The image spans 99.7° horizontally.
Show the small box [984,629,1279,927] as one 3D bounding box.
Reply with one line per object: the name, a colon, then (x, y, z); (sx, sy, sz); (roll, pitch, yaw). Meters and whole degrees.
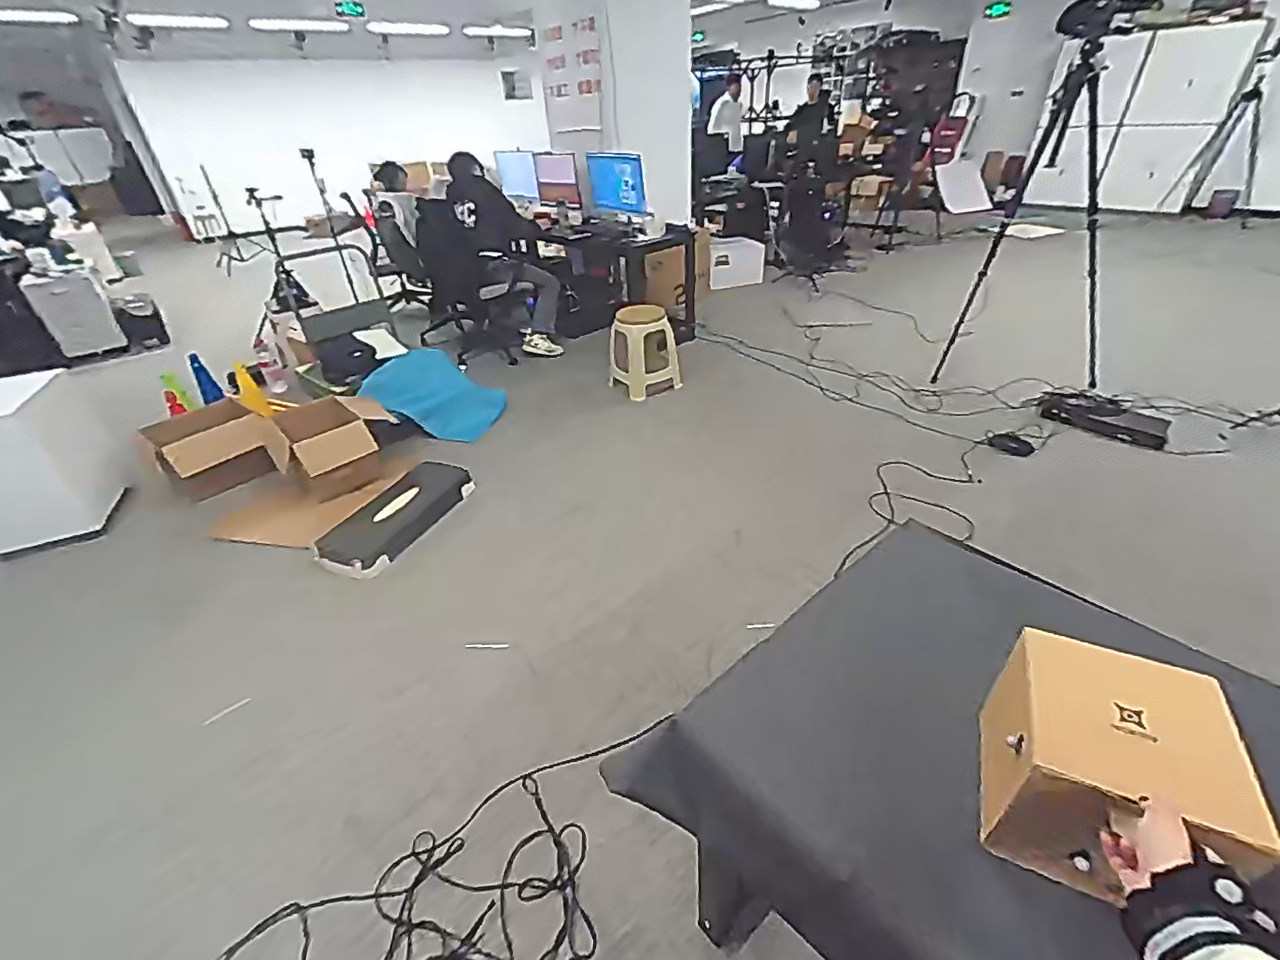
small box: (0.467, 0.293, 0.550); (0.168, 0.176, 0.179); (13, 38, 23)
